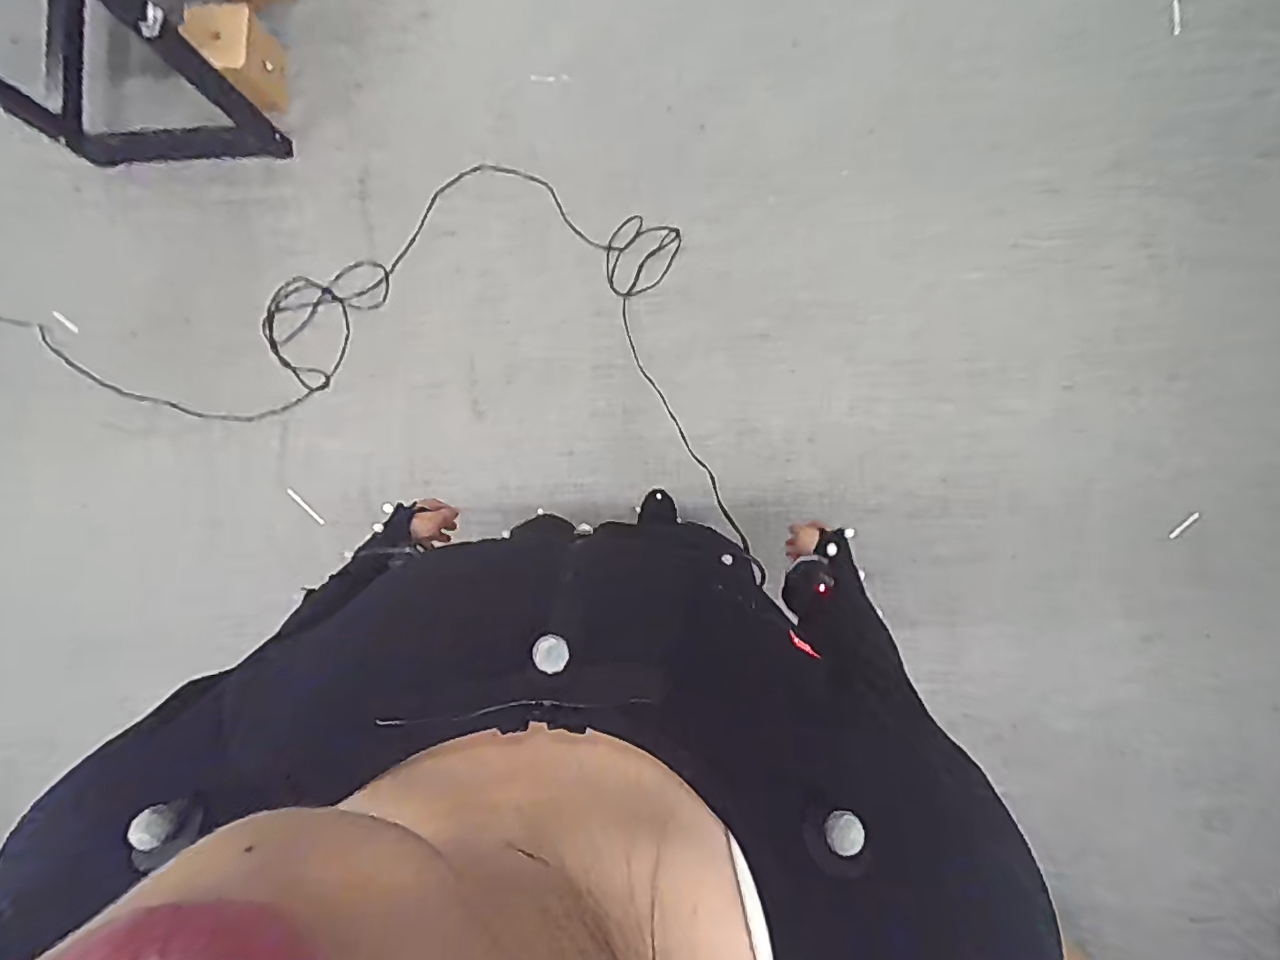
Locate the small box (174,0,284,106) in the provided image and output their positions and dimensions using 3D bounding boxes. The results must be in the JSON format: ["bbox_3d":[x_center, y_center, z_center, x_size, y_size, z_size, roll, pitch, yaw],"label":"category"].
[{"bbox_3d":[-1.103,-1.151,1.465,0.179,0.176,0.168,3,89,1],"label":"small box"}]
